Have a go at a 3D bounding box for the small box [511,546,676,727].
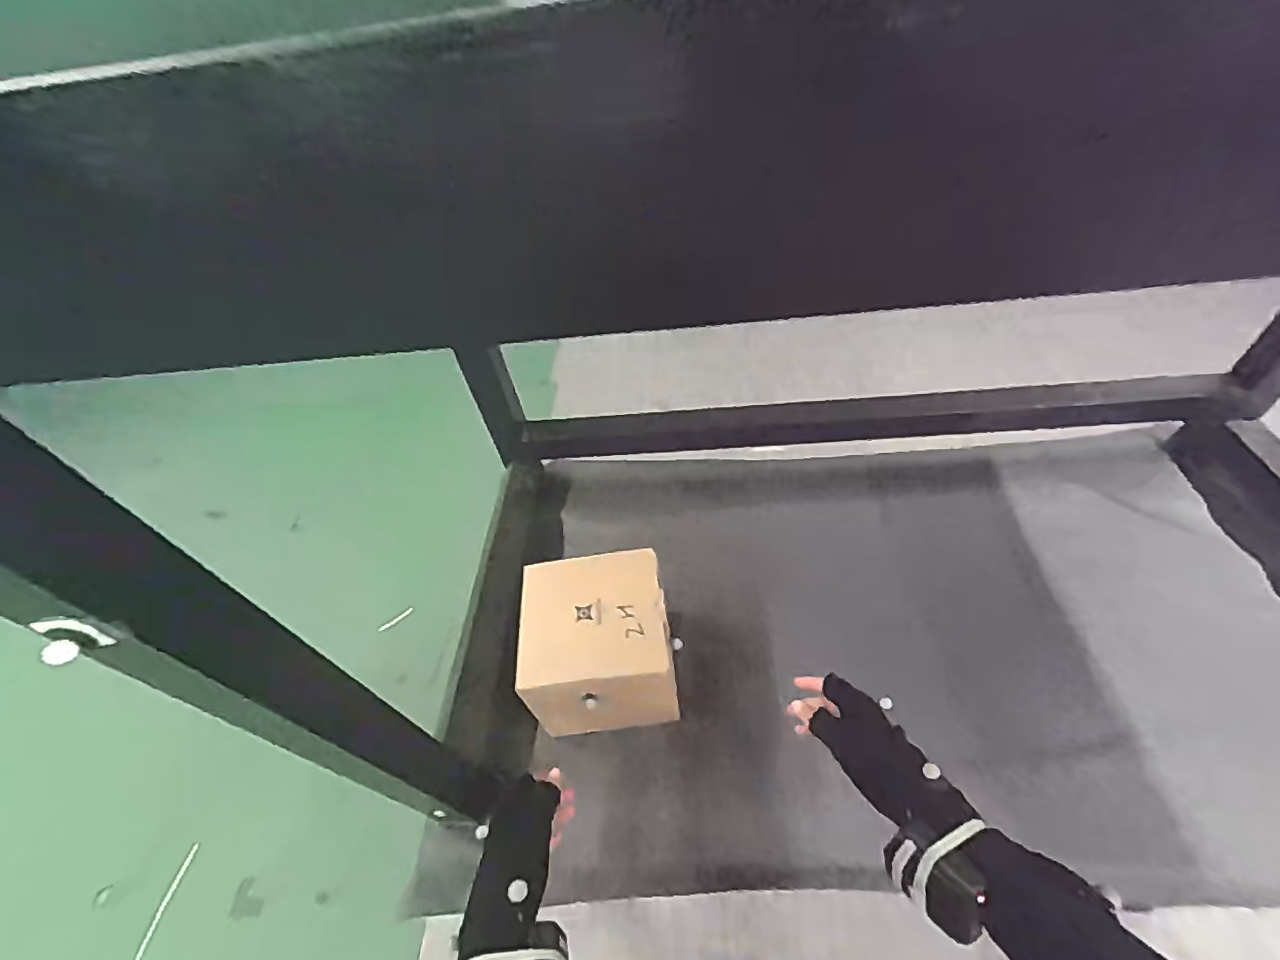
[{"bbox_3d":[-0.053,0.209,0.707,0.179,0.176,0.168,-7,49,2],"label":"small box"}]
